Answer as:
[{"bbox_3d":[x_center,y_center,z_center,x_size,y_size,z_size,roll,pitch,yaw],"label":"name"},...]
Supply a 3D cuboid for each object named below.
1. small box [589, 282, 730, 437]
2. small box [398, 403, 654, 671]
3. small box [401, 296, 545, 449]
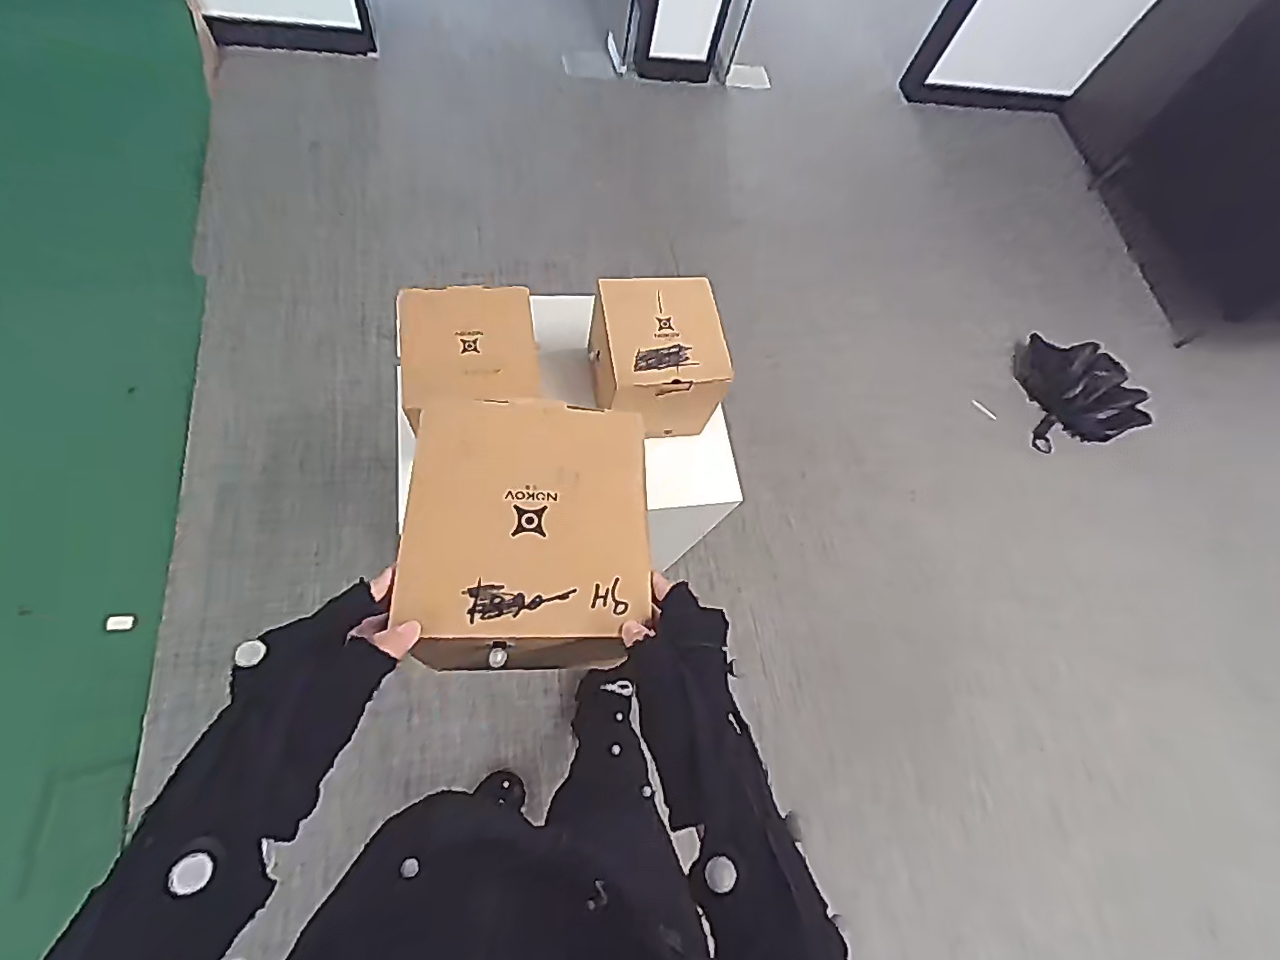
[{"bbox_3d":[0.019,-0.170,0.814,0.168,0.176,0.179,-6,69,-12],"label":"small box"},{"bbox_3d":[-0.087,0.058,0.453,0.168,0.176,0.179,2,65,-10],"label":"small box"},{"bbox_3d":[-0.228,-0.131,0.757,0.168,0.176,0.179,-8,72,-13],"label":"small box"}]
